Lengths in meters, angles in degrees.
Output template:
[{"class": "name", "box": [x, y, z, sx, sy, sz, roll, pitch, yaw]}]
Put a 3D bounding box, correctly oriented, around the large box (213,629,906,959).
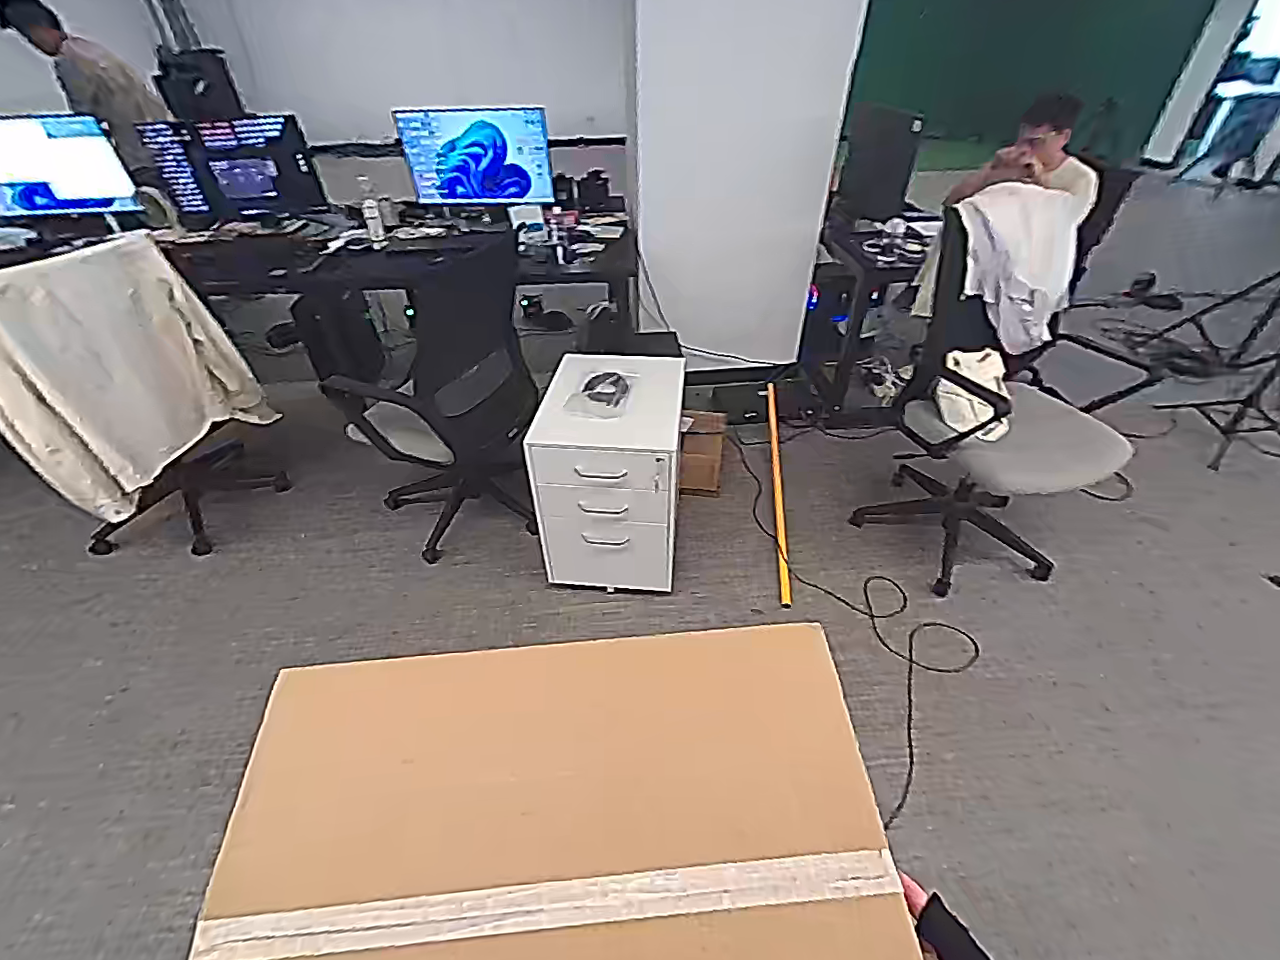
[{"class": "large box", "box": [-0.047, 0.346, 0.440, 0.408, 0.320, 0.320, -5, 53, -1]}]
